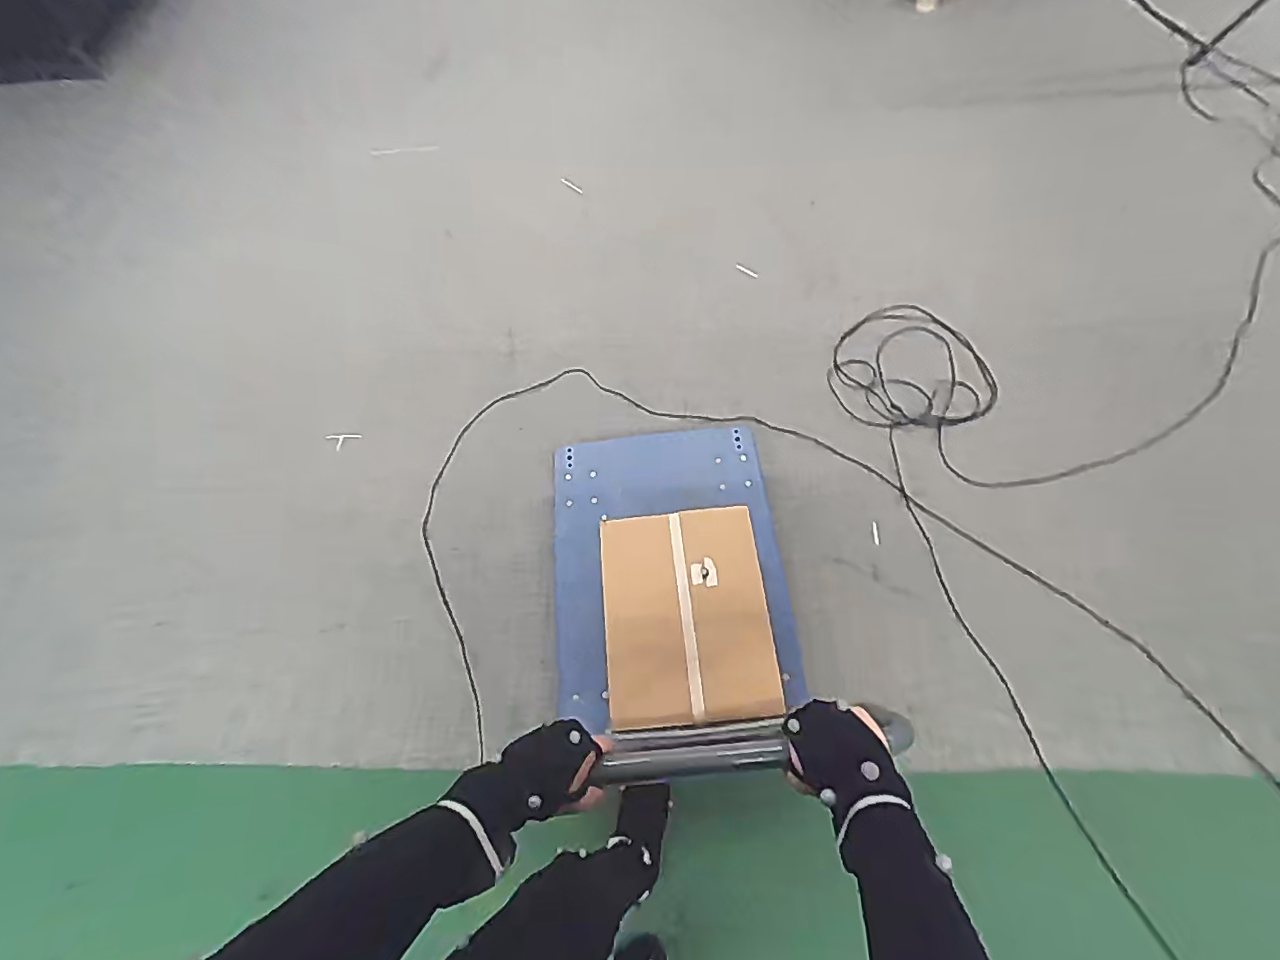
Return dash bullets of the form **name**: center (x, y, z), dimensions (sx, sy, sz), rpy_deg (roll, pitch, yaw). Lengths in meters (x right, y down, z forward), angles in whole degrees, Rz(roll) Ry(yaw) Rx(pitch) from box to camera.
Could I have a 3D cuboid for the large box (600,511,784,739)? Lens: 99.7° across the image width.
- **large box**: center (0.096, 0.325, 1.177), dimensions (0.320, 0.320, 0.408), rpy_deg (-6, 63, 0)
